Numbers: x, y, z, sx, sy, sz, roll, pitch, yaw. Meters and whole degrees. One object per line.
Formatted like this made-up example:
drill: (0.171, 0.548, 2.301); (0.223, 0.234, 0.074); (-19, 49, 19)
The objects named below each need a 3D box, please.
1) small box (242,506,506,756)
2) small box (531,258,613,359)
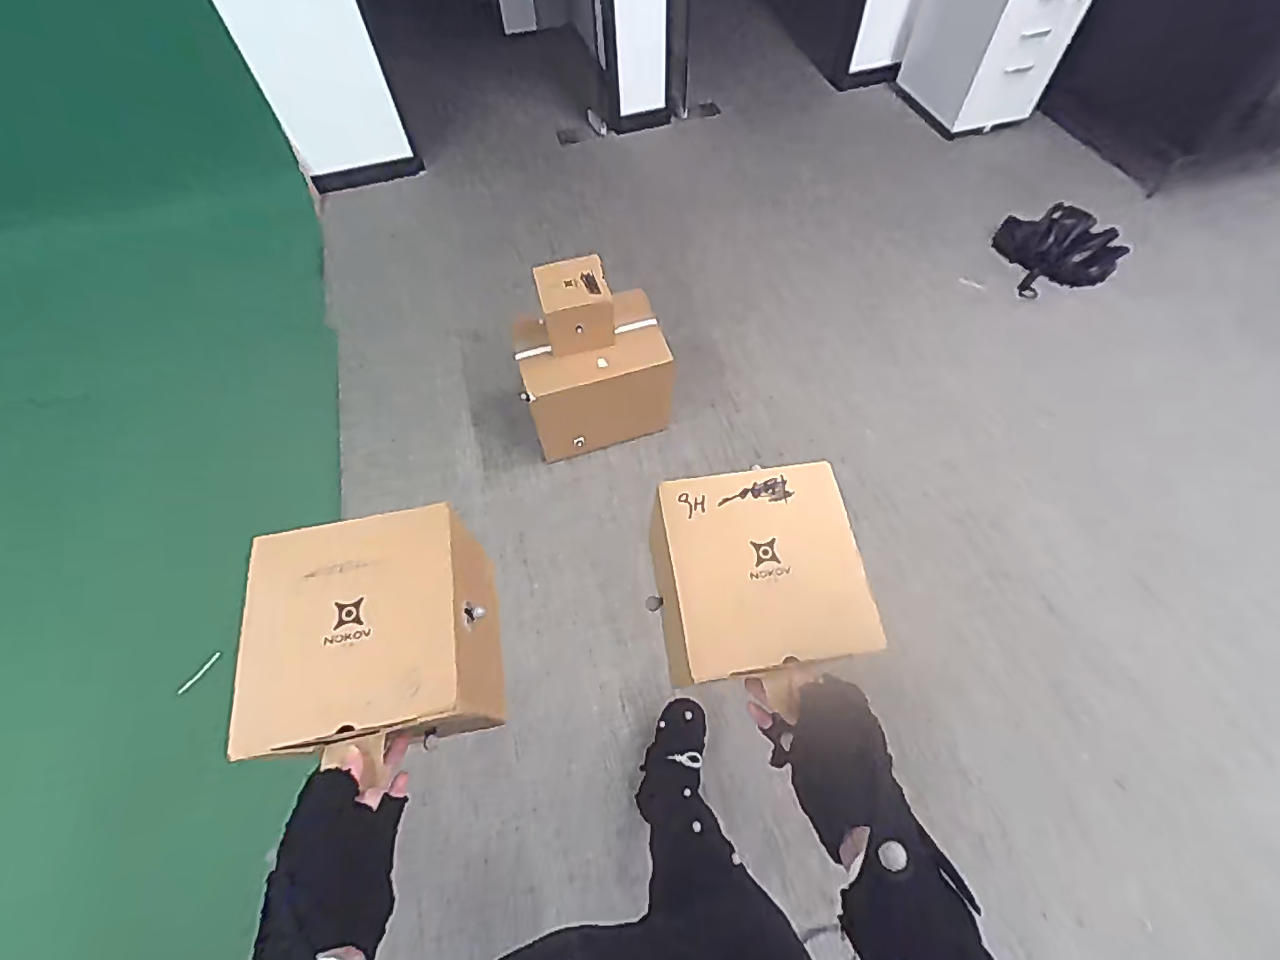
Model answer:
small box: (-0.232, 0.149, 0.514); (0.168, 0.176, 0.179); (-11, 63, -5)
small box: (-0.175, -0.451, 1.435); (0.179, 0.176, 0.168); (-17, 66, -8)
